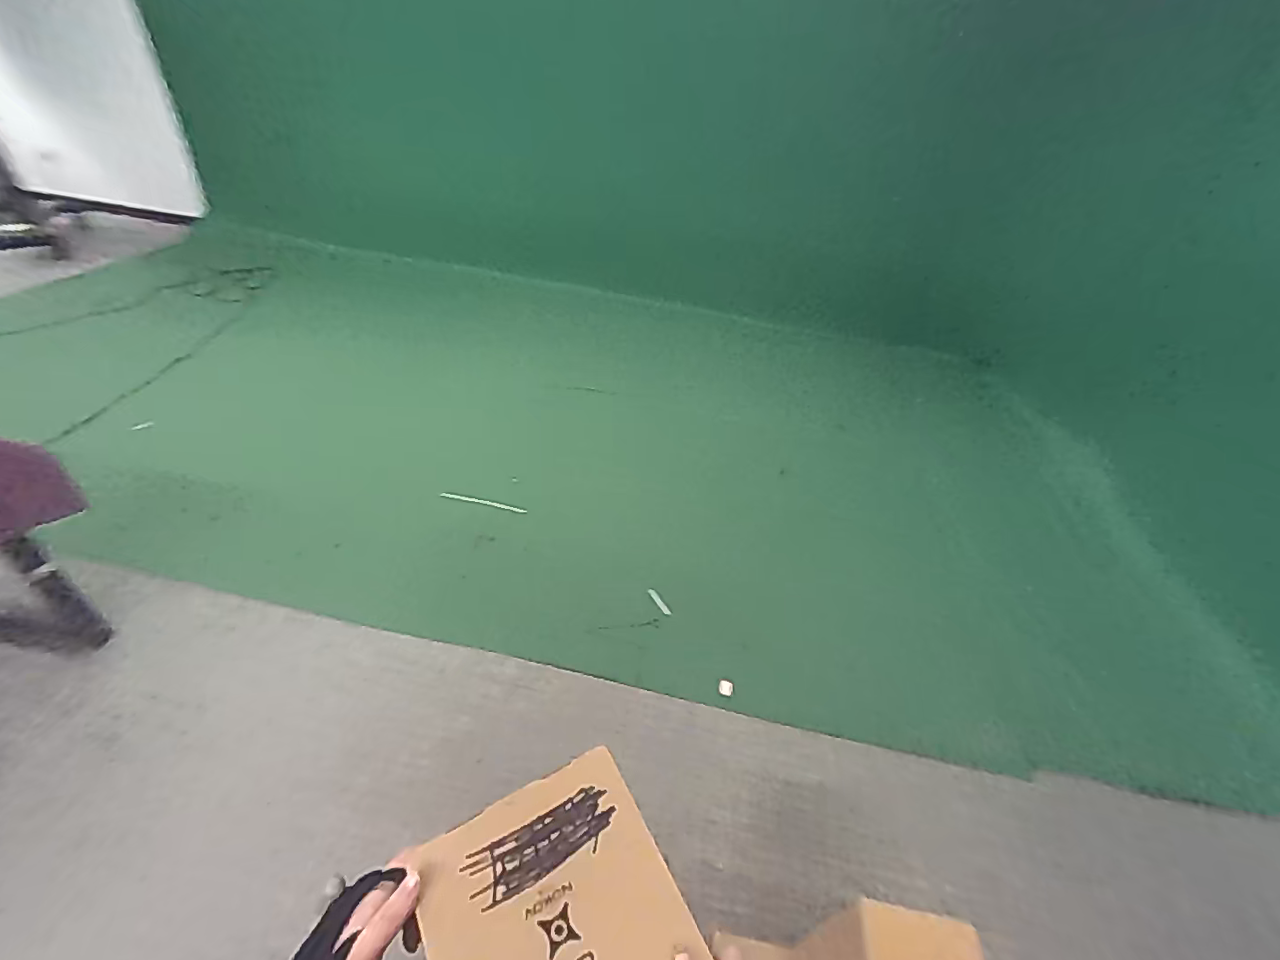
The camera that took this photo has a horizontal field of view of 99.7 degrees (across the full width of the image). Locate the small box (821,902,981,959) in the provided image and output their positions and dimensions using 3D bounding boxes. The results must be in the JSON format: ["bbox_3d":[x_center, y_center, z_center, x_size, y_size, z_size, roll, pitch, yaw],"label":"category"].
[{"bbox_3d":[0.359,0.725,0.740,0.168,0.176,0.179,13,39,2],"label":"small box"}]

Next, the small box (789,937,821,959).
[{"bbox_3d":[0.332,0.854,0.836,0.168,0.176,0.179,12,38,1],"label":"small box"}]
